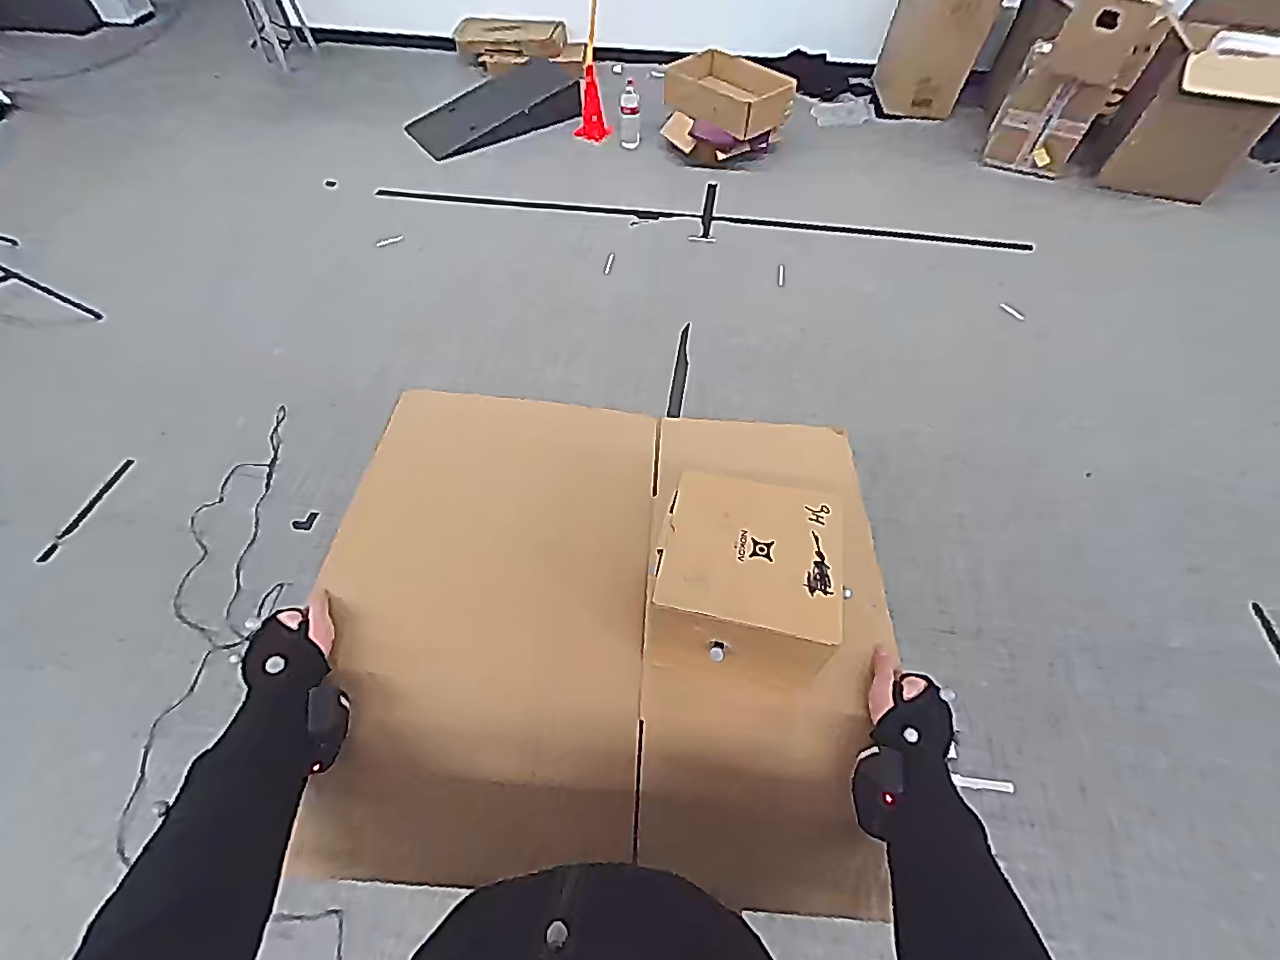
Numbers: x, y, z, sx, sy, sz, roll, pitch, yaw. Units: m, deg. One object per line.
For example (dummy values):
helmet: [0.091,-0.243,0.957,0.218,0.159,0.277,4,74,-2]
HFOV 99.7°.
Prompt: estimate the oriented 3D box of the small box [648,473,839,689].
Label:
small box: [0.112,0.117,0.608,0.179,0.176,0.168,10,54,9]
